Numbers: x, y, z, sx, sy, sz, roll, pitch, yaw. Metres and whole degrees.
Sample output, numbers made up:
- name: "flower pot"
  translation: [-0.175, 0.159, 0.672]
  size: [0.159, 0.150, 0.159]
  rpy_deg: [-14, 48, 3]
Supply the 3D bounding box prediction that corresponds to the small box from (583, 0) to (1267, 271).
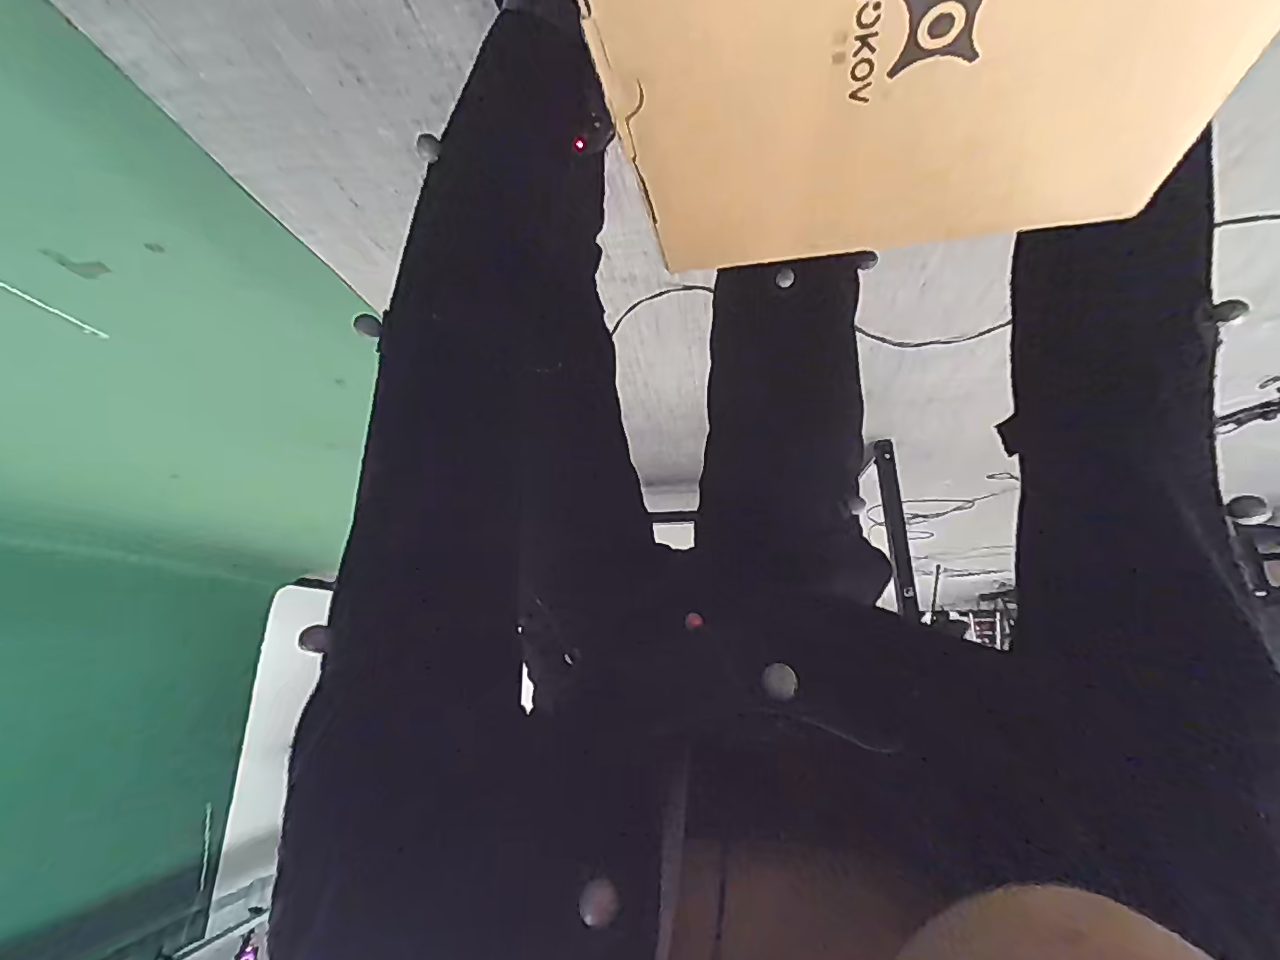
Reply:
- name: "small box"
  translation: [0.078, -0.200, 0.172]
  size: [0.179, 0.176, 0.168]
  rpy_deg: [-2, 161, 15]
